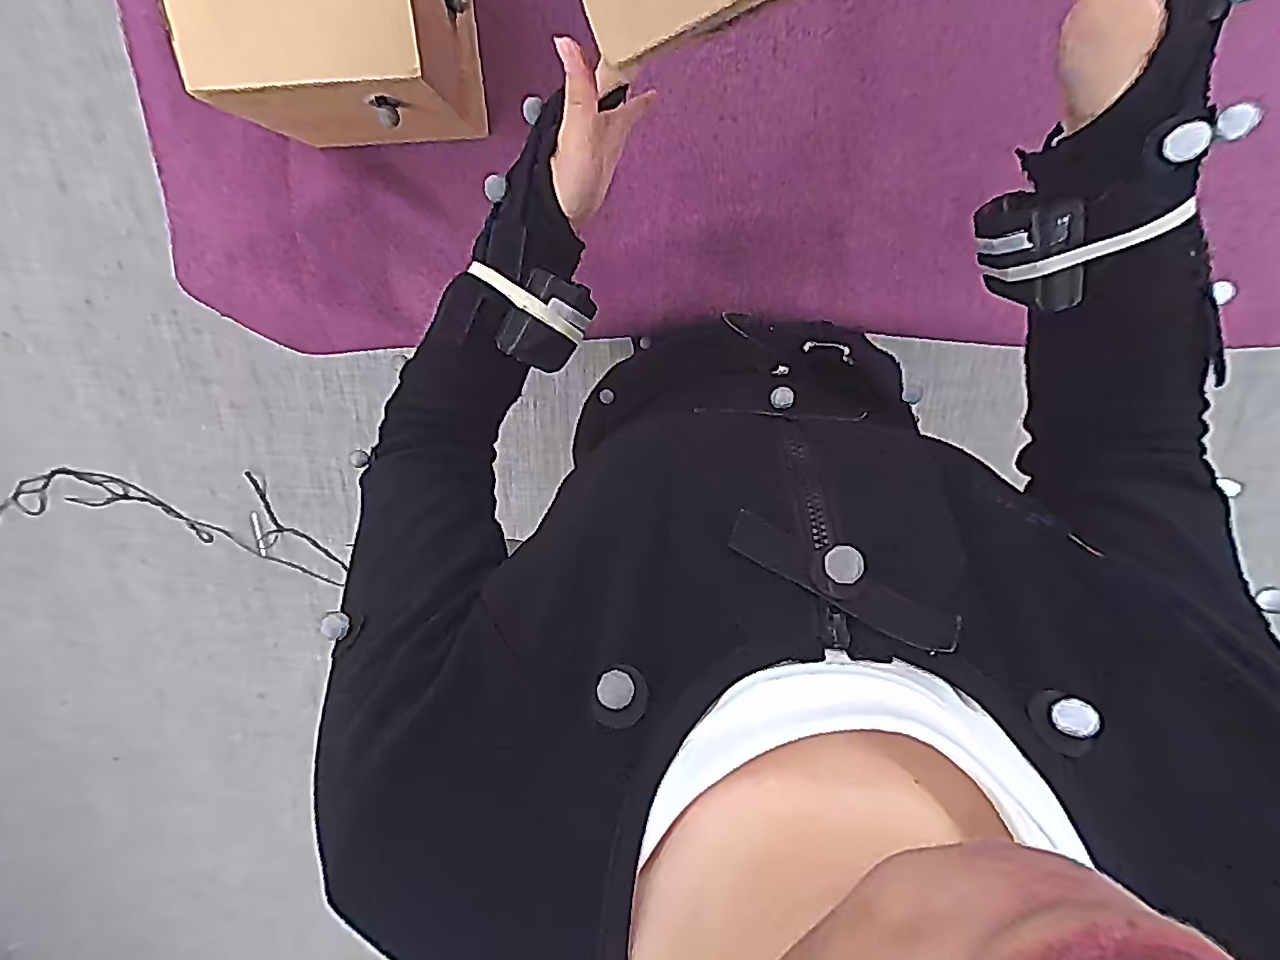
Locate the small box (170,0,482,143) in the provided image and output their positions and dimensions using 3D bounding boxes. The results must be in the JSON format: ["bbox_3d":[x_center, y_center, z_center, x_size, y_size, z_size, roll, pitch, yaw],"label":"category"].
[{"bbox_3d":[-0.237,-0.387,0.435,0.179,0.176,0.168,-2,109,2],"label":"small box"}]
